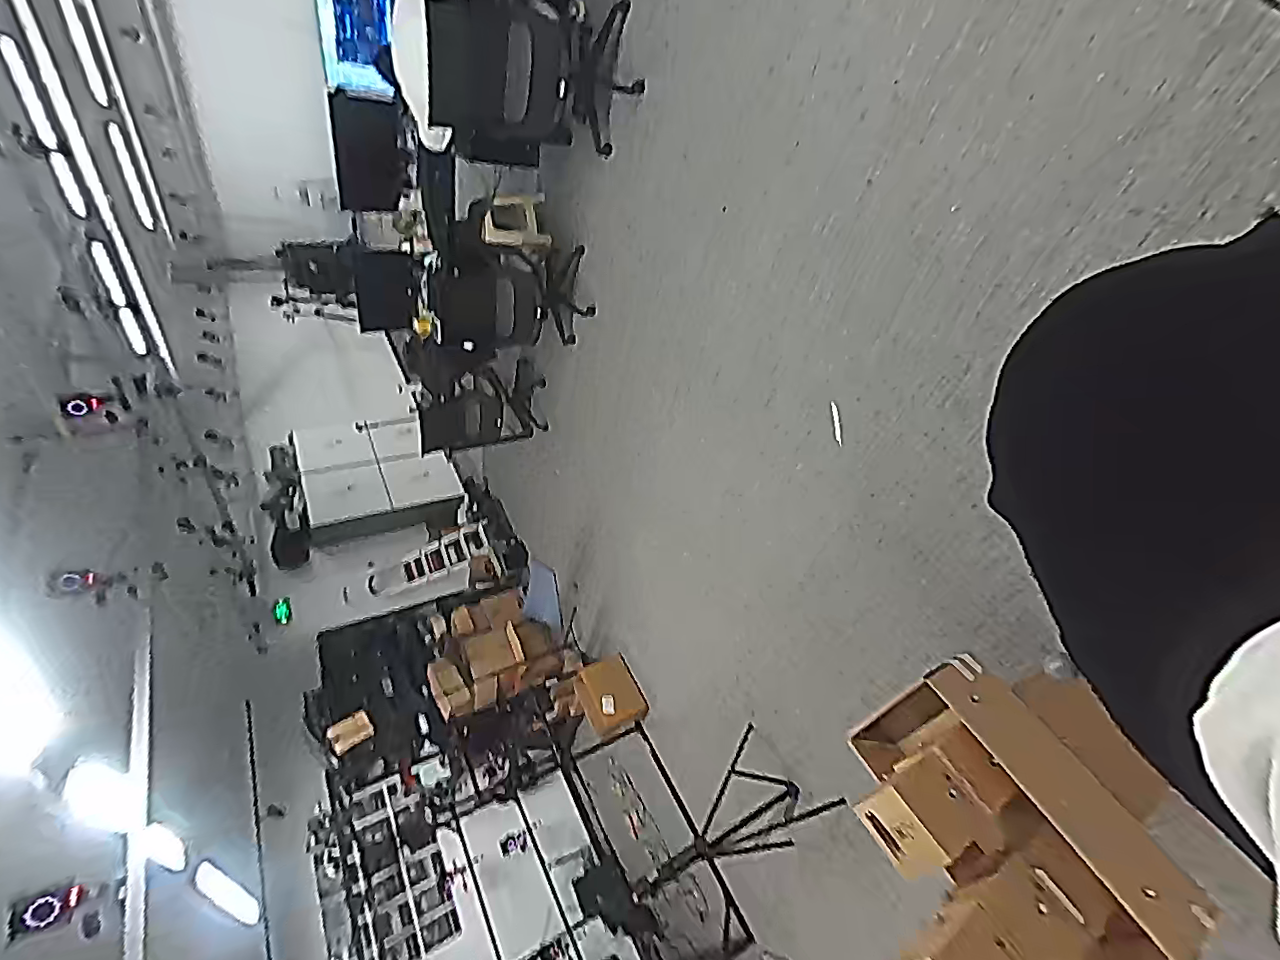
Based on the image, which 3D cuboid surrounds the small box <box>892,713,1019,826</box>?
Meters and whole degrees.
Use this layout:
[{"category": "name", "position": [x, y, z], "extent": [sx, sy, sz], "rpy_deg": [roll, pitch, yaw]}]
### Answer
[{"category": "small box", "position": [0.771, 0.705, 1.323], "extent": [0.168, 0.176, 0.179], "rpy_deg": [55, 144, 29]}]

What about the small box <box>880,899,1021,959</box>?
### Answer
[{"category": "small box", "position": [0.611, 0.952, 1.036], "extent": [0.168, 0.176, 0.179], "rpy_deg": [53, 144, 34]}]

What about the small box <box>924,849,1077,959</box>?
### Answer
[{"category": "small box", "position": [0.746, 0.911, 1.121], "extent": [0.168, 0.176, 0.179], "rpy_deg": [53, 143, 34]}]
